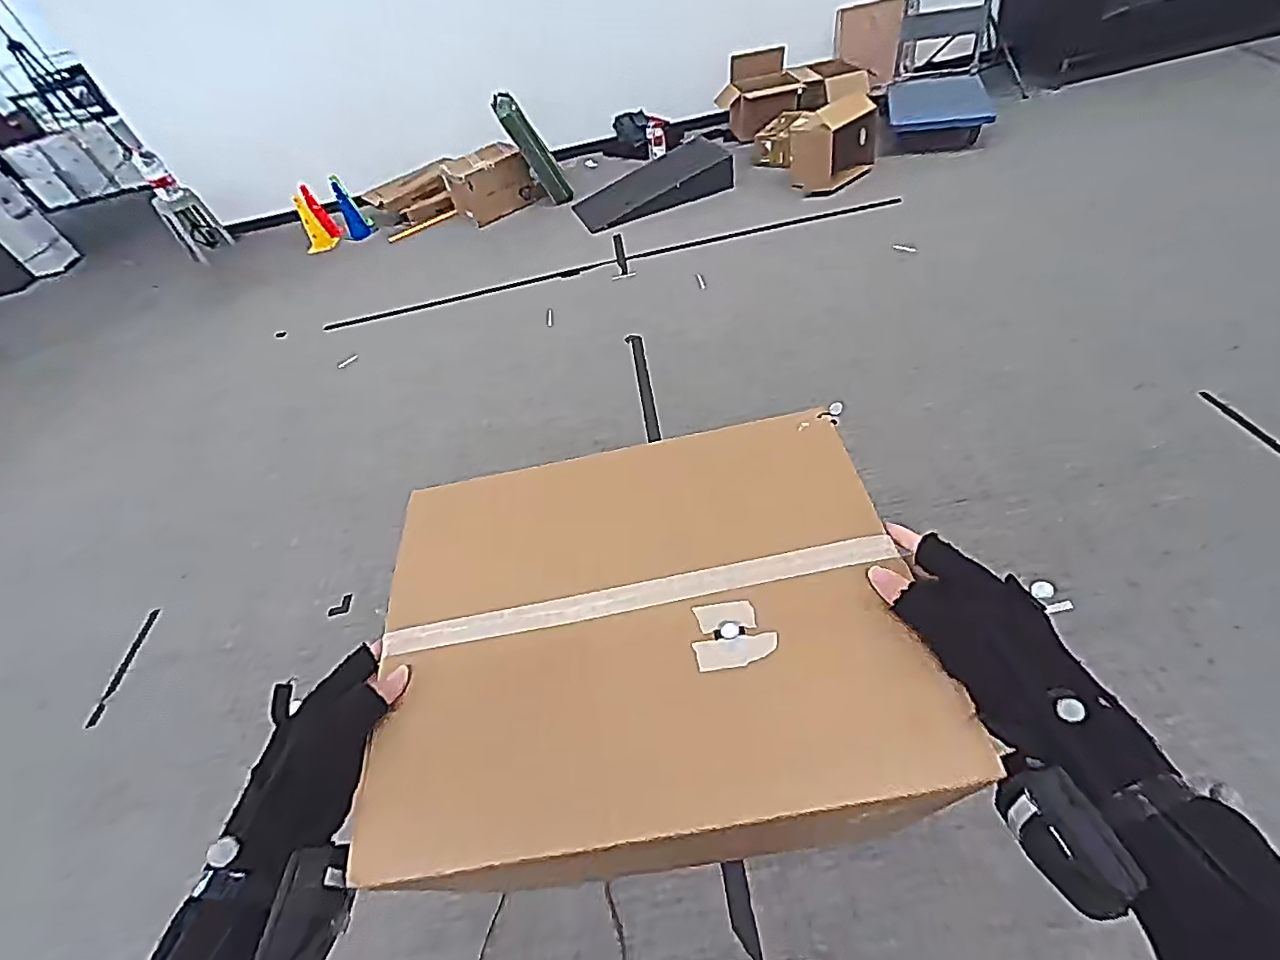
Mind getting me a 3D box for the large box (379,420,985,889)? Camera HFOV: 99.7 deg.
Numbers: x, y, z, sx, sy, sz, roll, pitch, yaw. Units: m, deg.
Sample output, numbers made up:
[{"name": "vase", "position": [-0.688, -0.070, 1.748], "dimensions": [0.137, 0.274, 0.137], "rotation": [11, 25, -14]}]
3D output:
[{"name": "large box", "position": [0.025, 0.188, 0.549], "dimensions": [0.408, 0.320, 0.320], "rotation": [-11, 52, 2]}]
